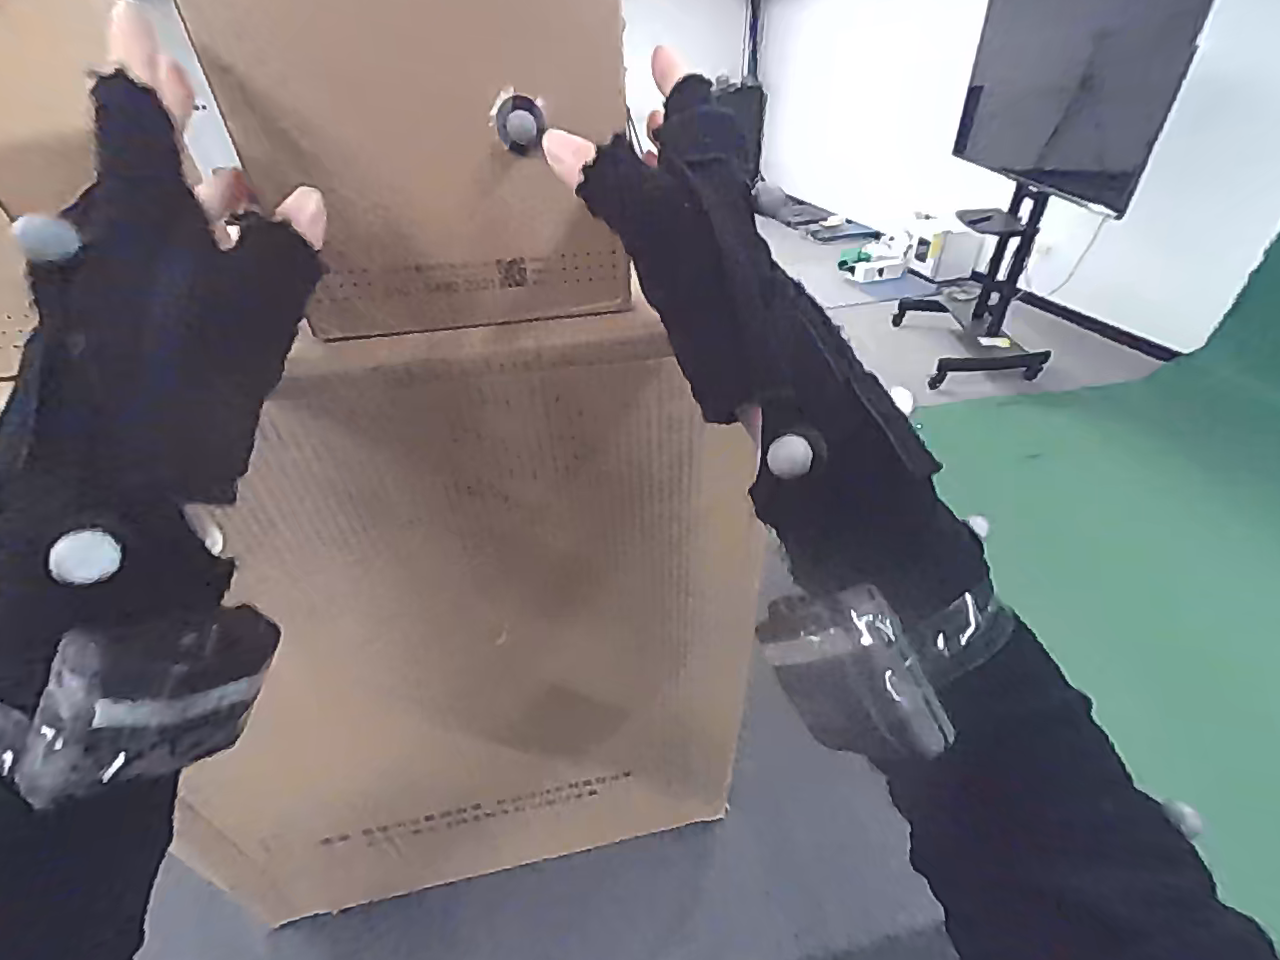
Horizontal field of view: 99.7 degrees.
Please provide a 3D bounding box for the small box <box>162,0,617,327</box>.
[{"bbox_3d":[-0.107,-0.193,0.304,0.168,0.176,0.179,-7,39,-8],"label":"small box"}]

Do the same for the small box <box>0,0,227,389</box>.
[{"bbox_3d":[-0.351,-0.149,0.260,0.179,0.176,0.168,-10,41,-10],"label":"small box"}]
